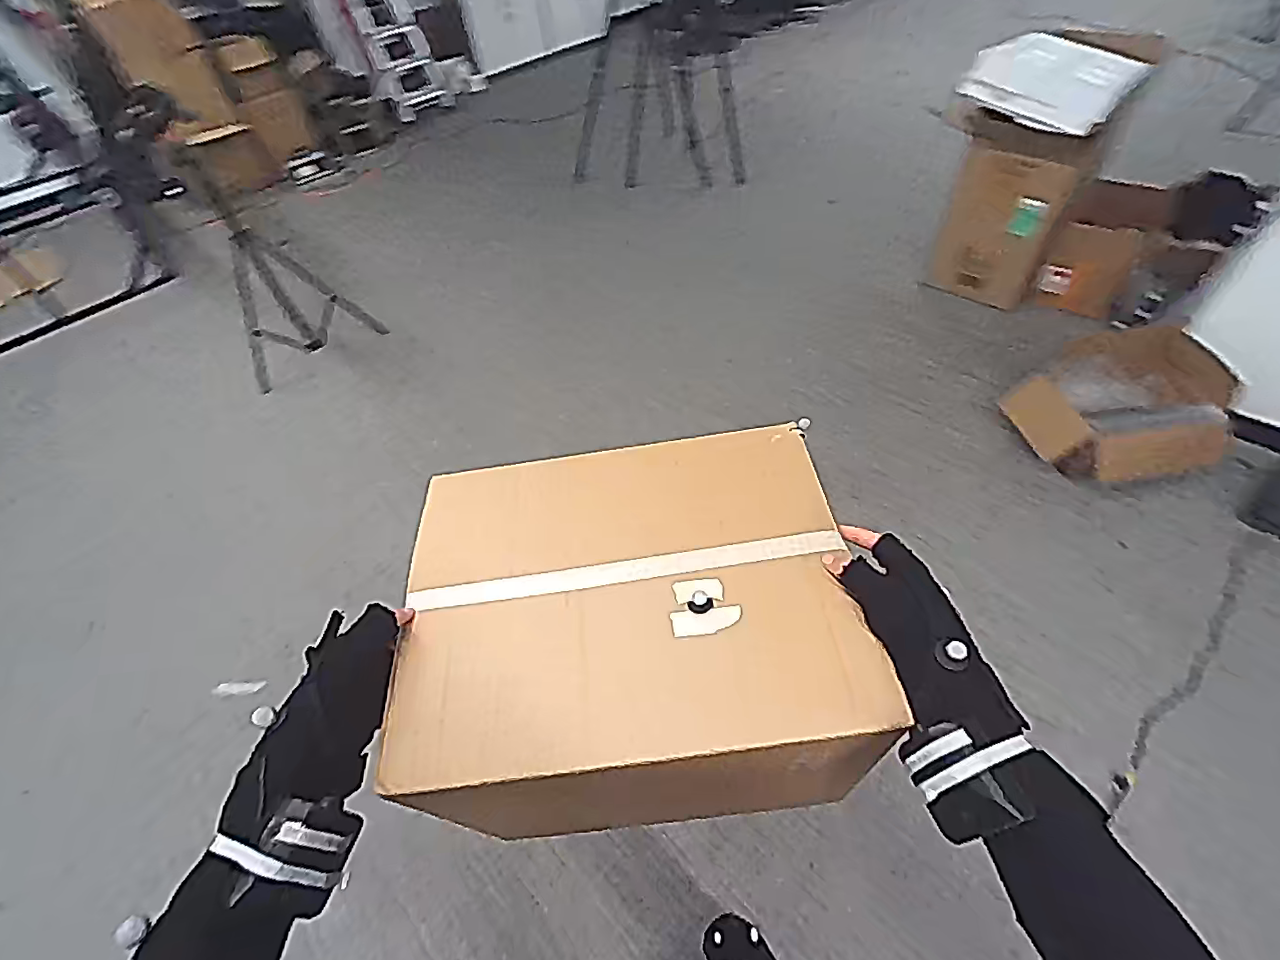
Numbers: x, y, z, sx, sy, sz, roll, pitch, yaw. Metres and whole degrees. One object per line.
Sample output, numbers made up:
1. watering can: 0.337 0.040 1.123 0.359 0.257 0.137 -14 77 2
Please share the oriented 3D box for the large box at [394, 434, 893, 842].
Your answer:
1. large box: 0.000 0.189 0.625 0.408 0.320 0.320 -9 50 1
